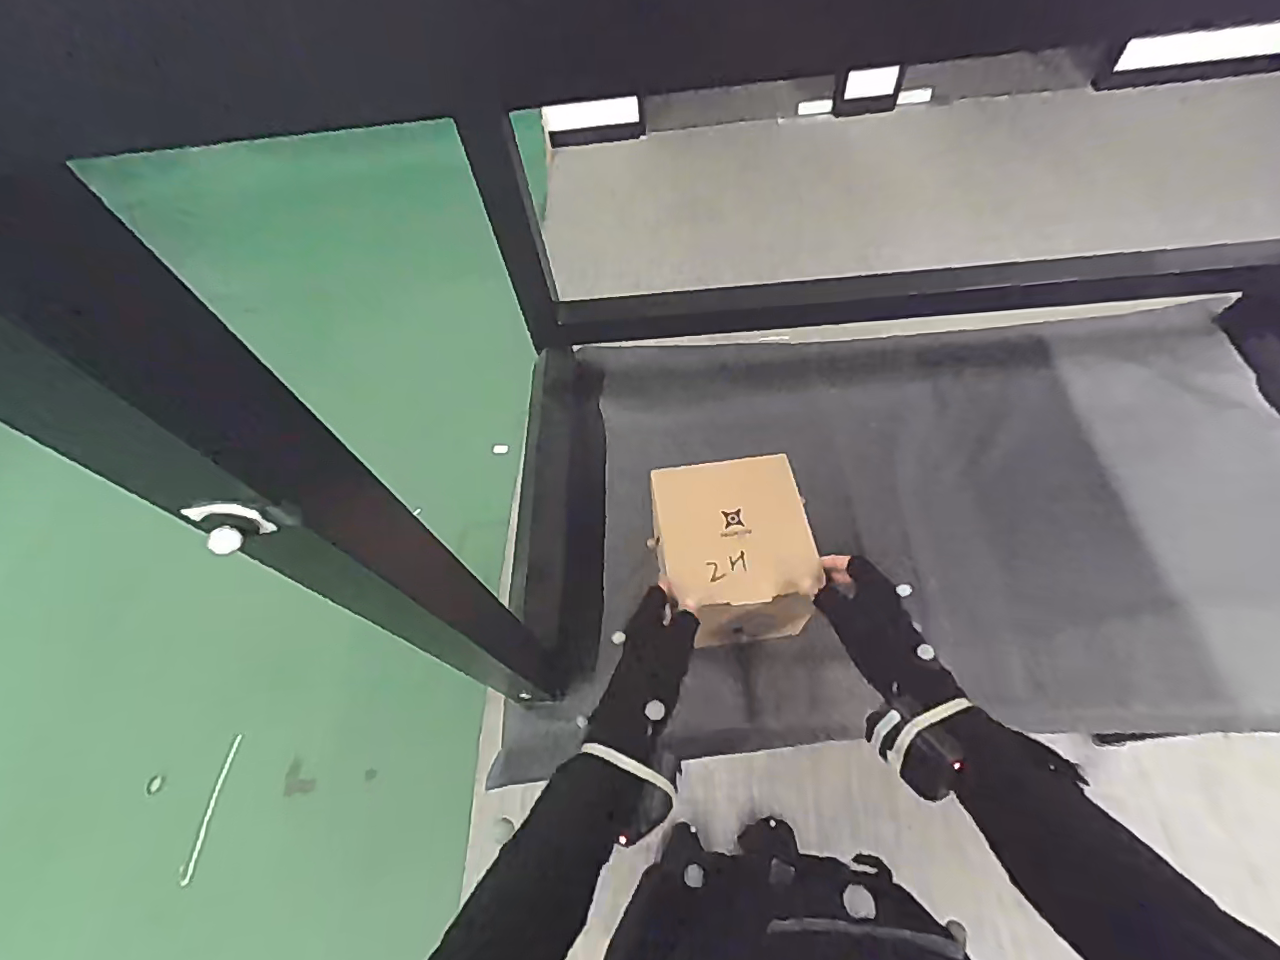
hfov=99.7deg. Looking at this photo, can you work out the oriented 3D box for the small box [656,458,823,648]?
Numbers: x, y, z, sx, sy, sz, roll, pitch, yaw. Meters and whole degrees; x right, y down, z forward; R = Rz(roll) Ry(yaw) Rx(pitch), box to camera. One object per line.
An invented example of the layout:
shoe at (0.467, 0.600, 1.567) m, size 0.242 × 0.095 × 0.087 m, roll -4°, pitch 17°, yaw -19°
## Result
small box at (0.108, 0.095, 0.674) m, size 0.168 × 0.176 × 0.179 m, roll -6°, pitch 58°, yaw 1°
